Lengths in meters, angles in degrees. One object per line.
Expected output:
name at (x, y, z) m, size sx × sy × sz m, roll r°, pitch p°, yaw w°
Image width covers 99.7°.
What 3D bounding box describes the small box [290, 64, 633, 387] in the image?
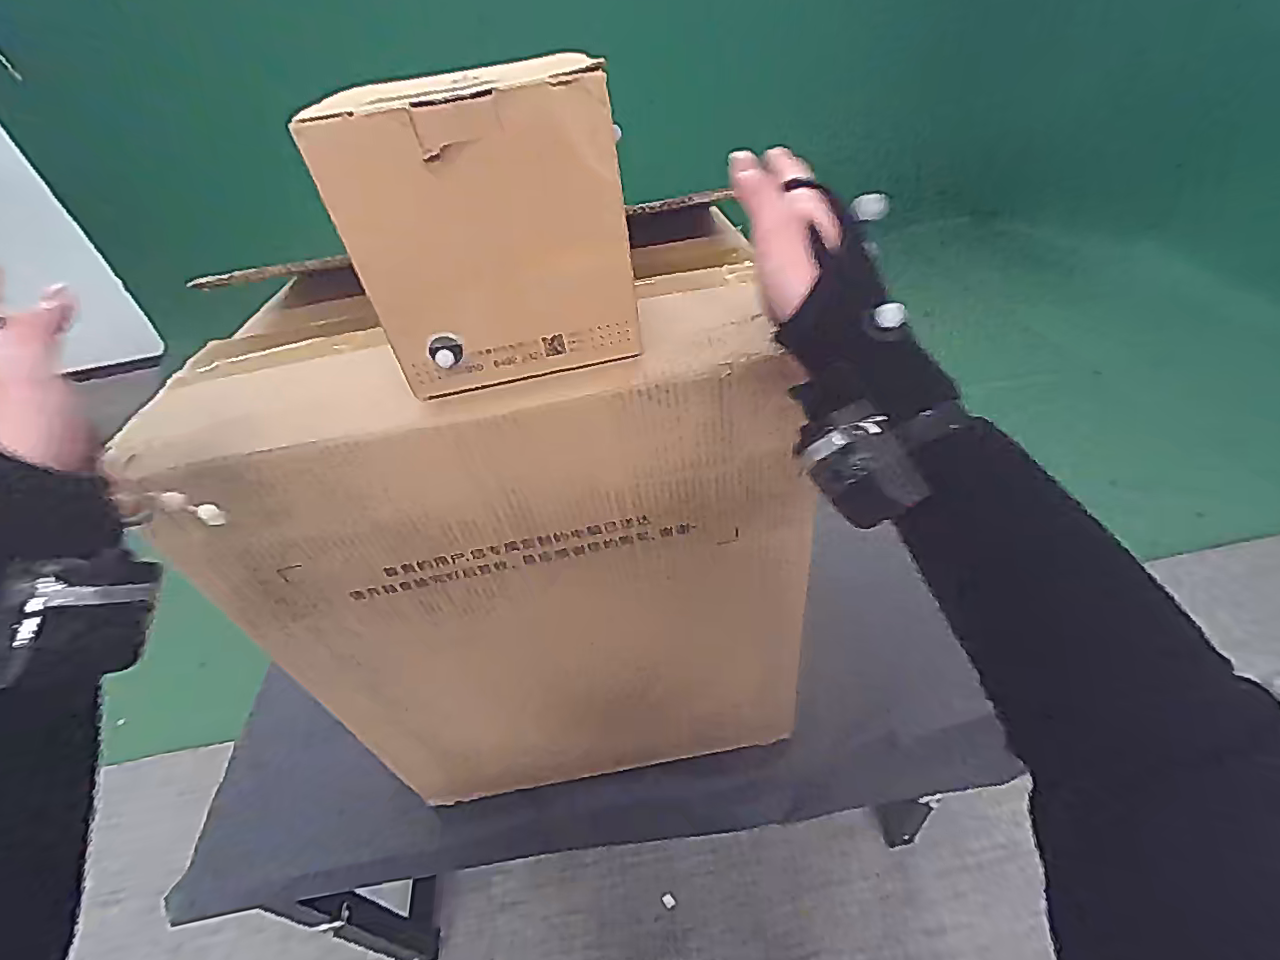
small box at (-0.105, -0.181, 0.396) m, size 0.168 × 0.176 × 0.179 m, roll -12°, pitch 40°, yaw -3°
